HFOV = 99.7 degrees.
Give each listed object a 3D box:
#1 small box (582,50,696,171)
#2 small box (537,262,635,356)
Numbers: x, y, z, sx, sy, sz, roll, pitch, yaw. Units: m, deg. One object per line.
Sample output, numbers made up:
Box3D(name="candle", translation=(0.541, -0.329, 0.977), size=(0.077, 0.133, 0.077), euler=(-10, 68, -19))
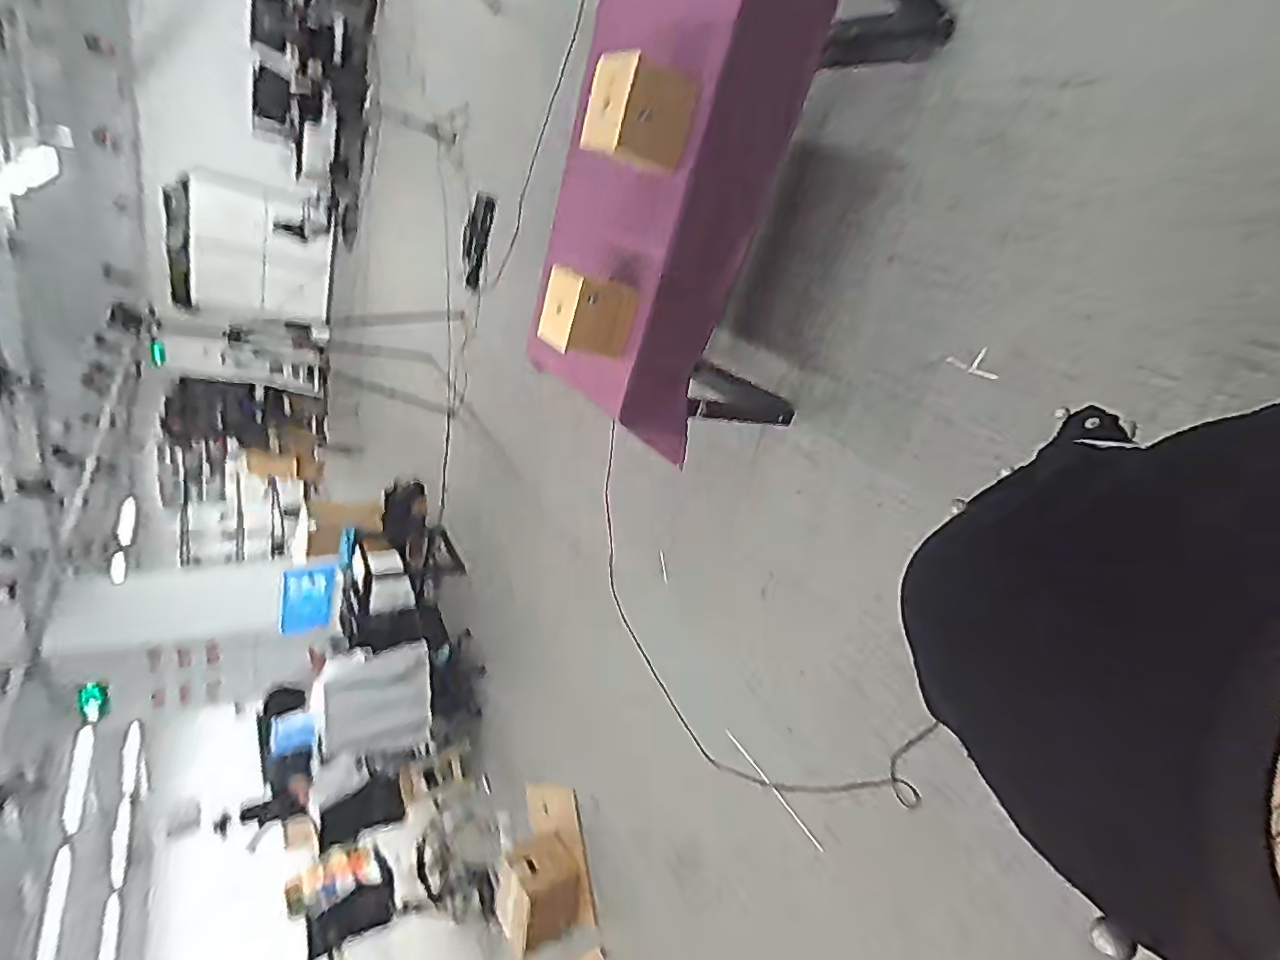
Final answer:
Box3D(name="small box", translation=(-0.002, -0.810, 1.198), size=(0.168, 0.176, 0.179), euler=(43, 122, 42))
Box3D(name="small box", translation=(-0.135, -0.426, 1.367), size=(0.168, 0.176, 0.179), euler=(41, 120, 44))
